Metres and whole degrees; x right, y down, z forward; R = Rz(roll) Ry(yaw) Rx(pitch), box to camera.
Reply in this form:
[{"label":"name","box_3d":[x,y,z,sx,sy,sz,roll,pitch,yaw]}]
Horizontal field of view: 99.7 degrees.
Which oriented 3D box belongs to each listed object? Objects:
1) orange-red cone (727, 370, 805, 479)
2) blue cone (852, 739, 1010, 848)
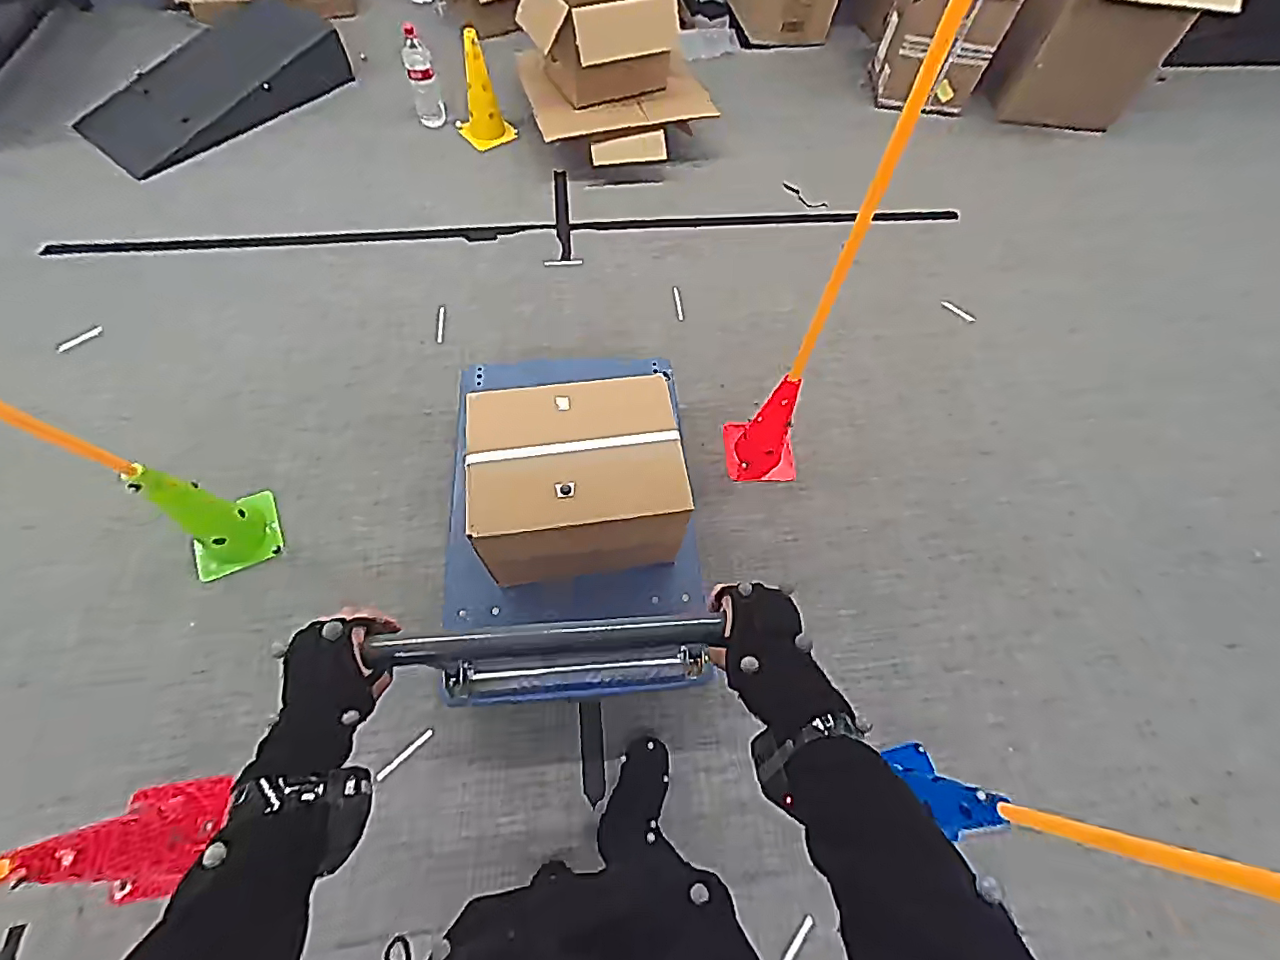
[{"label":"orange-red cone","box_3d":[0.370,-0.171,1.451,0.199,0.360,0.198,2,63,-4]},{"label":"blue cone","box_3d":[0.599,0.623,1.068,0.193,0.380,0.192,-8,62,-8]}]
